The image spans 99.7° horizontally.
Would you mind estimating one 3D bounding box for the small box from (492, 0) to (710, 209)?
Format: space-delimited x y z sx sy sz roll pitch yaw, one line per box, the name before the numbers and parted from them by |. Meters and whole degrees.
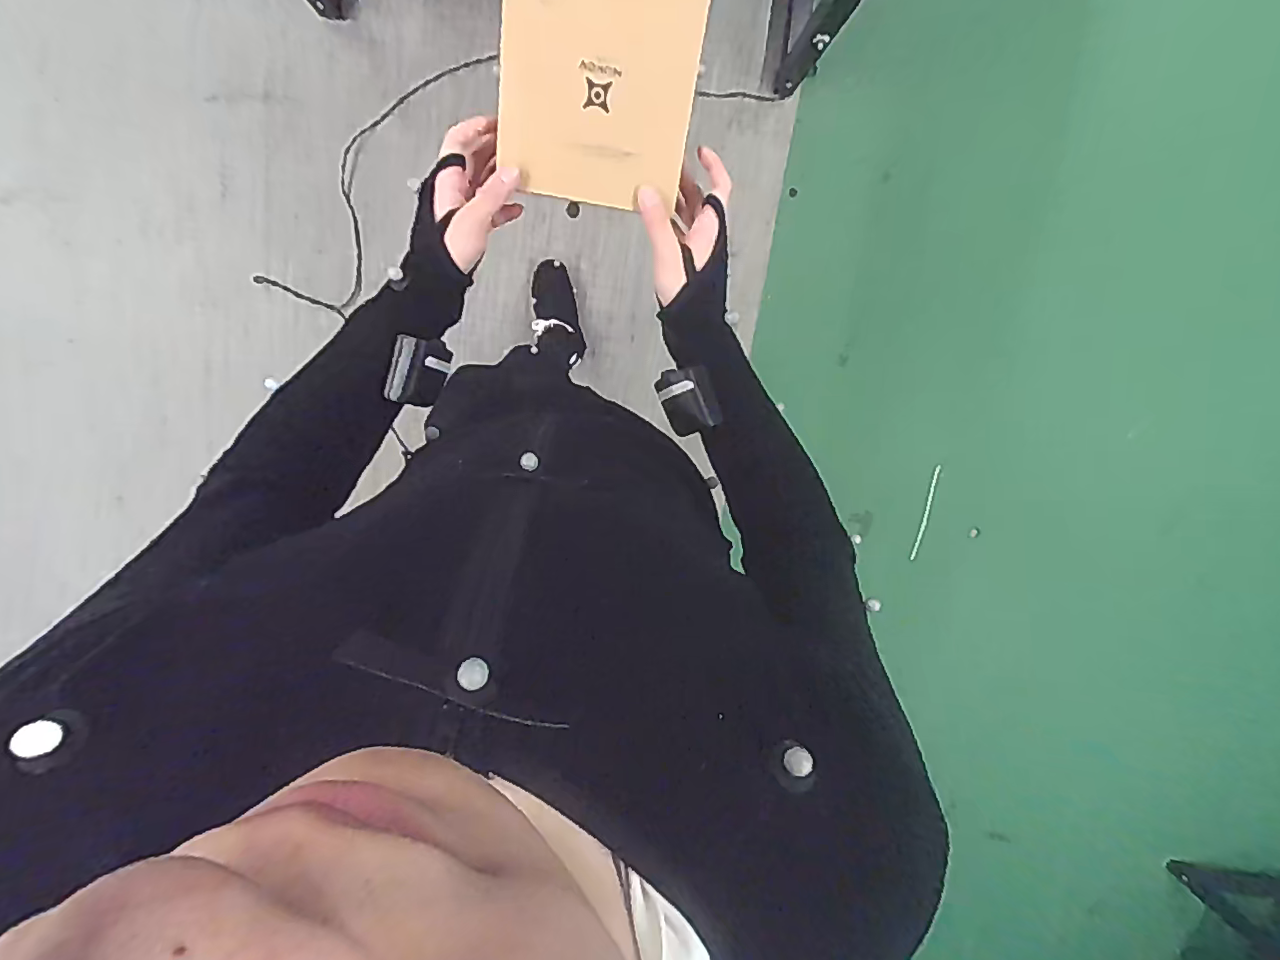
small box | -0.041 -0.372 0.520 0.168 0.176 0.179 7 117 -7
